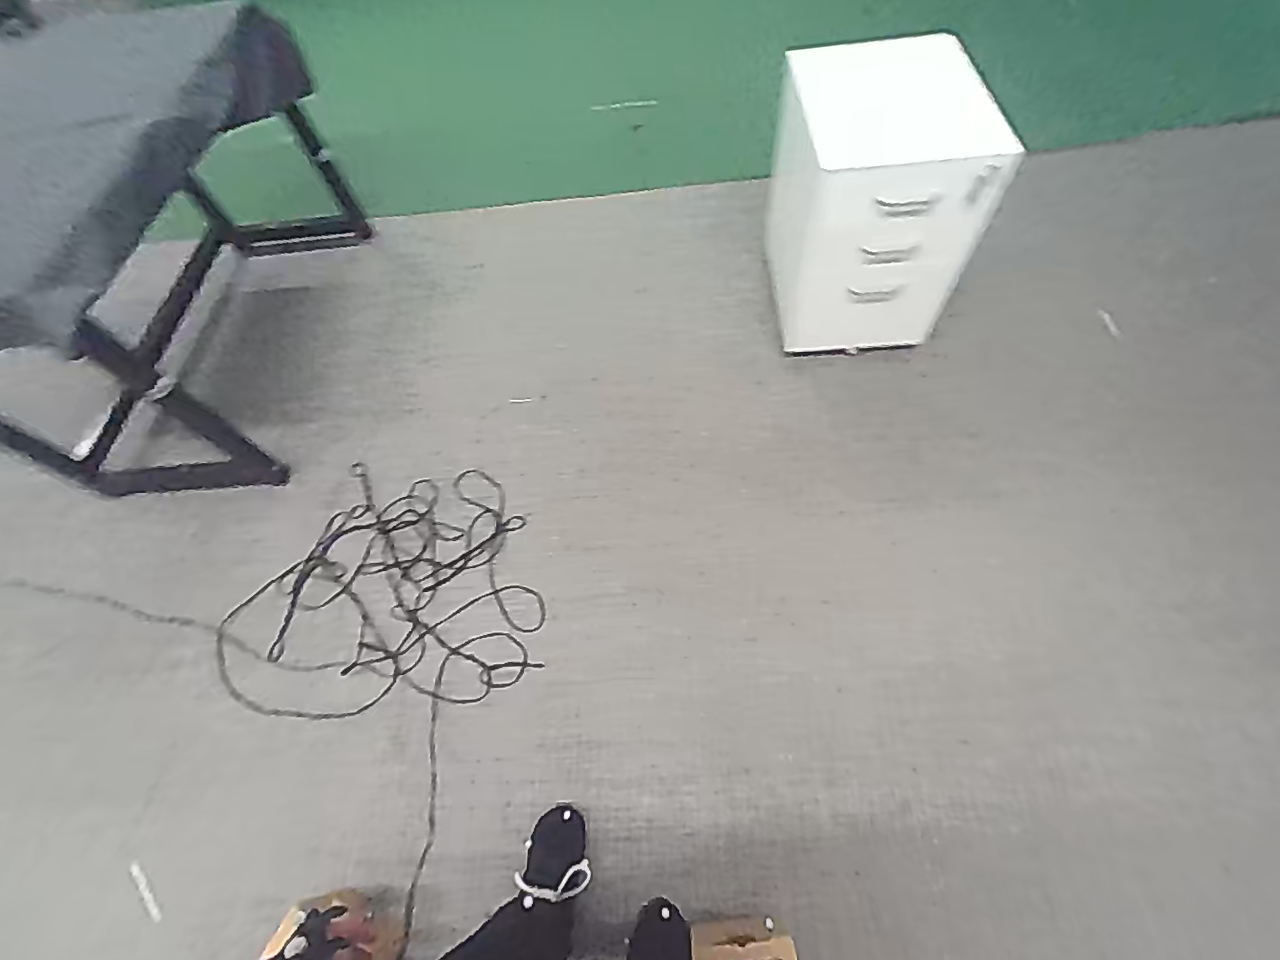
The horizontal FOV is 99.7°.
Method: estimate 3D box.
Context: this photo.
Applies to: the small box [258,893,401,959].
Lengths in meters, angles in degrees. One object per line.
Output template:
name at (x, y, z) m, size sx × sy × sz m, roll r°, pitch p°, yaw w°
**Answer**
small box at (-0.563, 0.878, 0.955) m, size 0.168 × 0.176 × 0.179 m, roll 20°, pitch 64°, yaw 16°
